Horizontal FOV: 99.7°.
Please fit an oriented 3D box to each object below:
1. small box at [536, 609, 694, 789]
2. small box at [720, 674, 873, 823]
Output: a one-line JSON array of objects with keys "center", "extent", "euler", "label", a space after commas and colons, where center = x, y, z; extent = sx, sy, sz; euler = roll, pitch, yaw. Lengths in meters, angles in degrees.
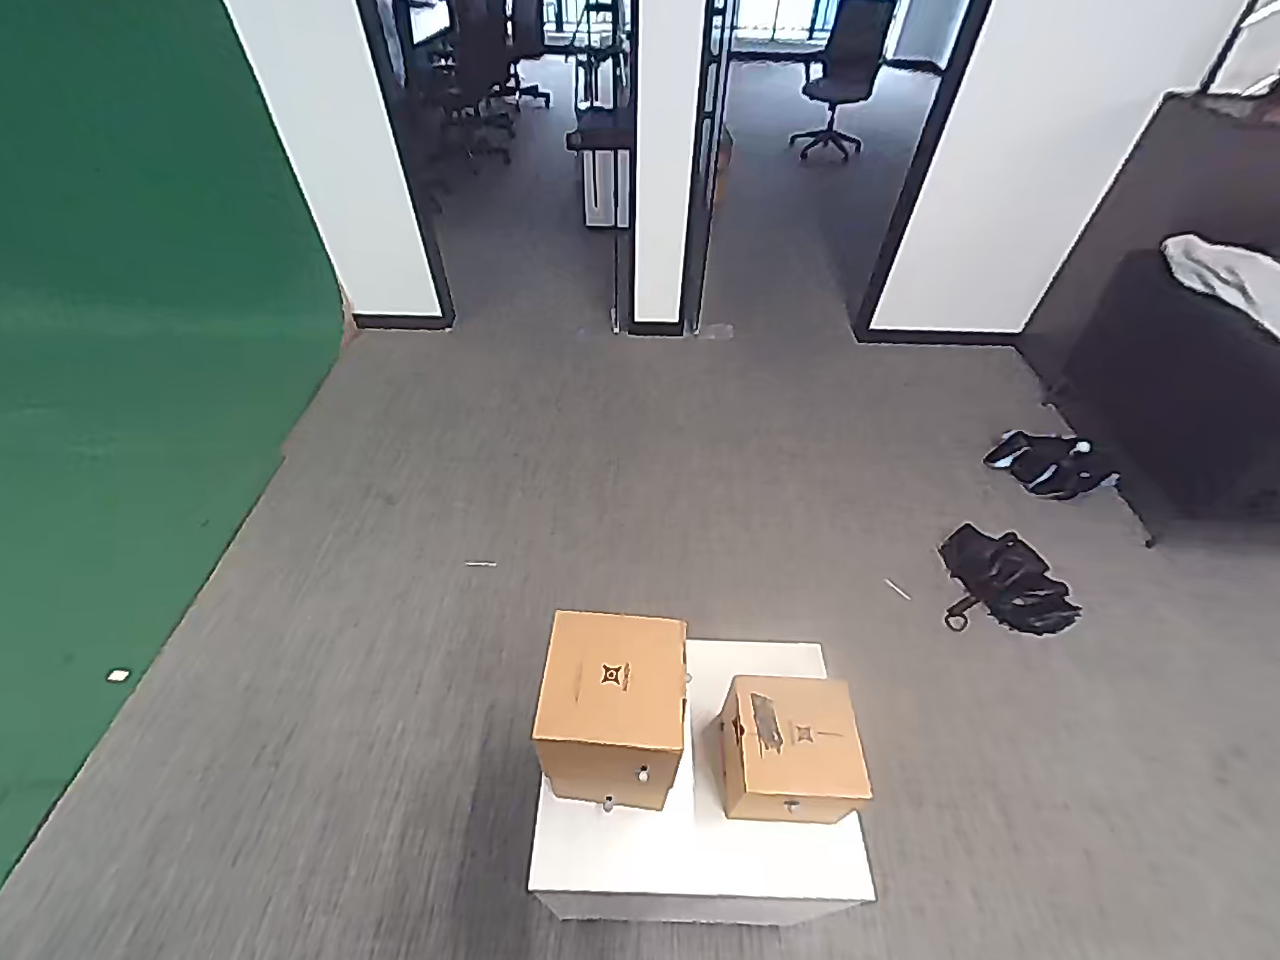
[{"center": [-0.030, 0.287, 0.704], "extent": [0.179, 0.176, 0.168], "euler": [3, 46, -1], "label": "small box"}, {"center": [0.223, 0.415, 0.832], "extent": [0.179, 0.176, 0.168], "euler": [3, 47, -3], "label": "small box"}]
